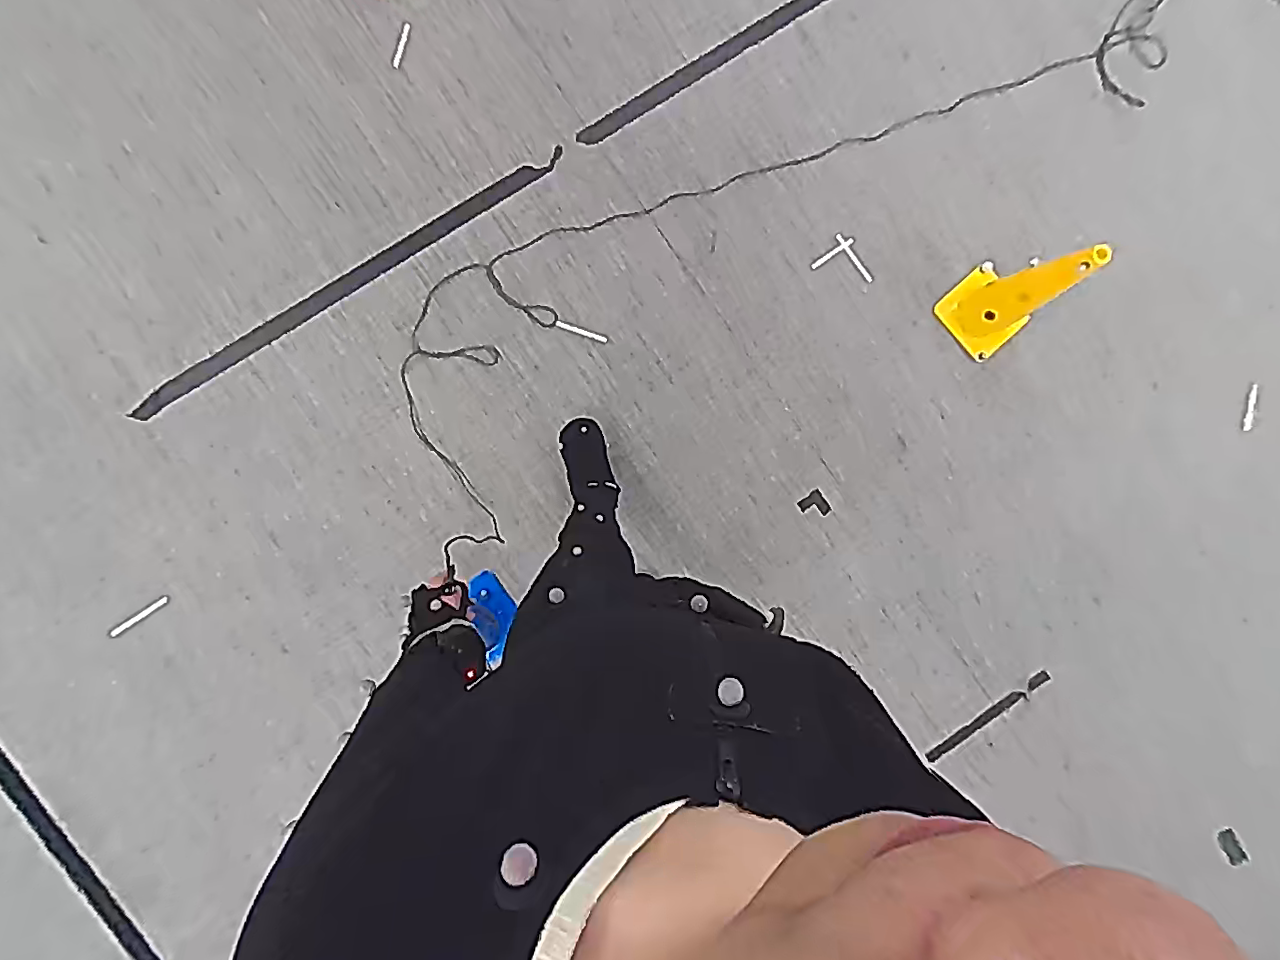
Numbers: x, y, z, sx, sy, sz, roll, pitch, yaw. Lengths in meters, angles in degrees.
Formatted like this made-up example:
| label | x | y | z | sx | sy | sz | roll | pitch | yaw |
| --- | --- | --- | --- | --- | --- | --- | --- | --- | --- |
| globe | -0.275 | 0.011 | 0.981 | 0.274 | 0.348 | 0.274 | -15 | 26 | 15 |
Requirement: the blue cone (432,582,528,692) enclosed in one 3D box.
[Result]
| label | x | y | z | sx | sy | sz | roll | pitch | yaw |
| --- | --- | --- | --- | --- | --- | --- | --- | --- | --- |
| blue cone | -0.381 | 0.362 | 1.165 | 0.193 | 0.380 | 0.192 | -34 | 92 | -4 |
